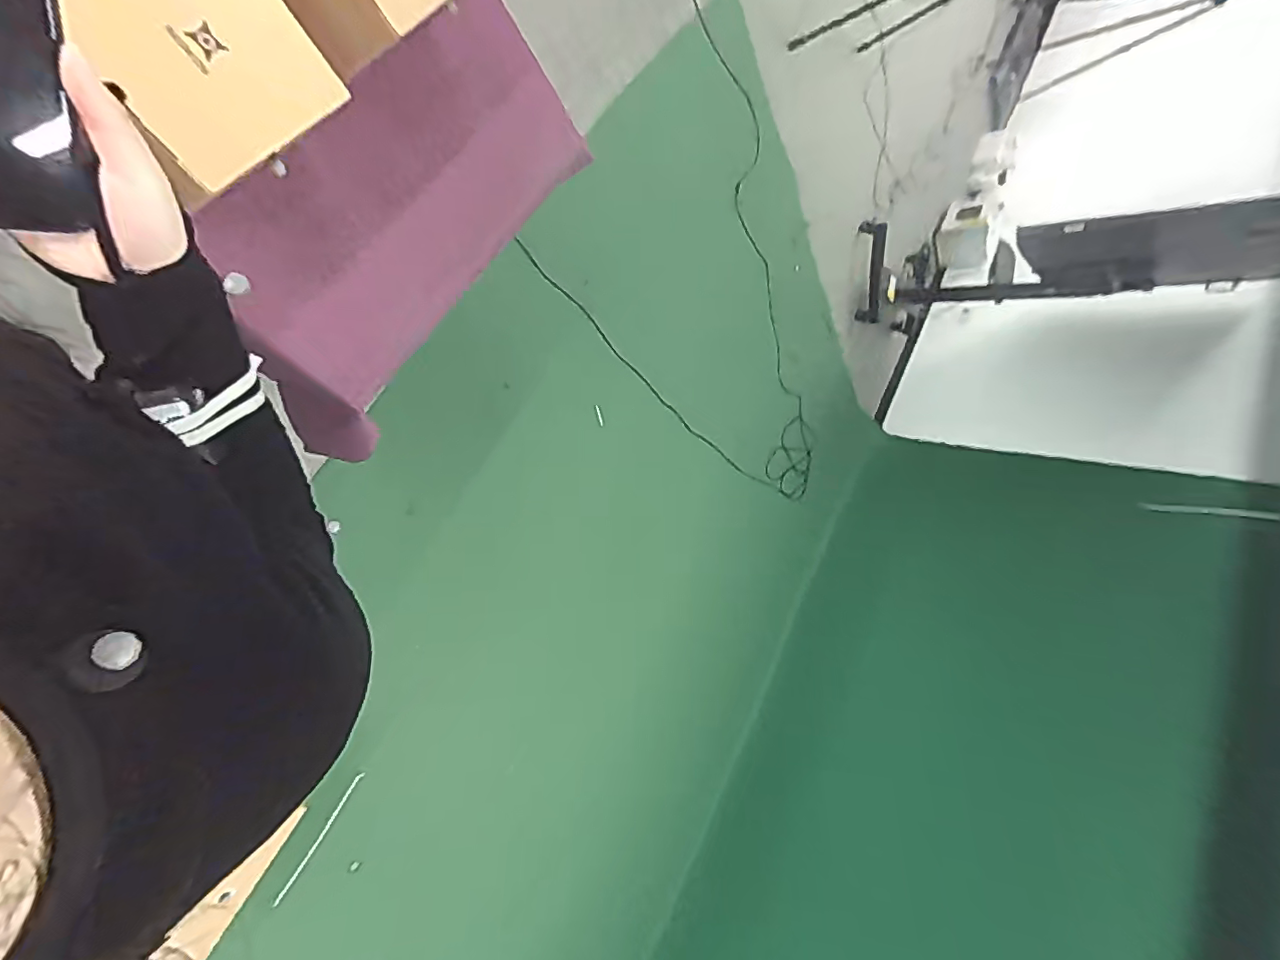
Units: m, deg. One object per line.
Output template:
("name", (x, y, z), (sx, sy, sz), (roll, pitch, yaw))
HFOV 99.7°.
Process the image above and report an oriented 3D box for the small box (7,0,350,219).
("small box", (-0.426, -0.375, 0.507), (0.179, 0.176, 0.168), (-56, 135, -22))
